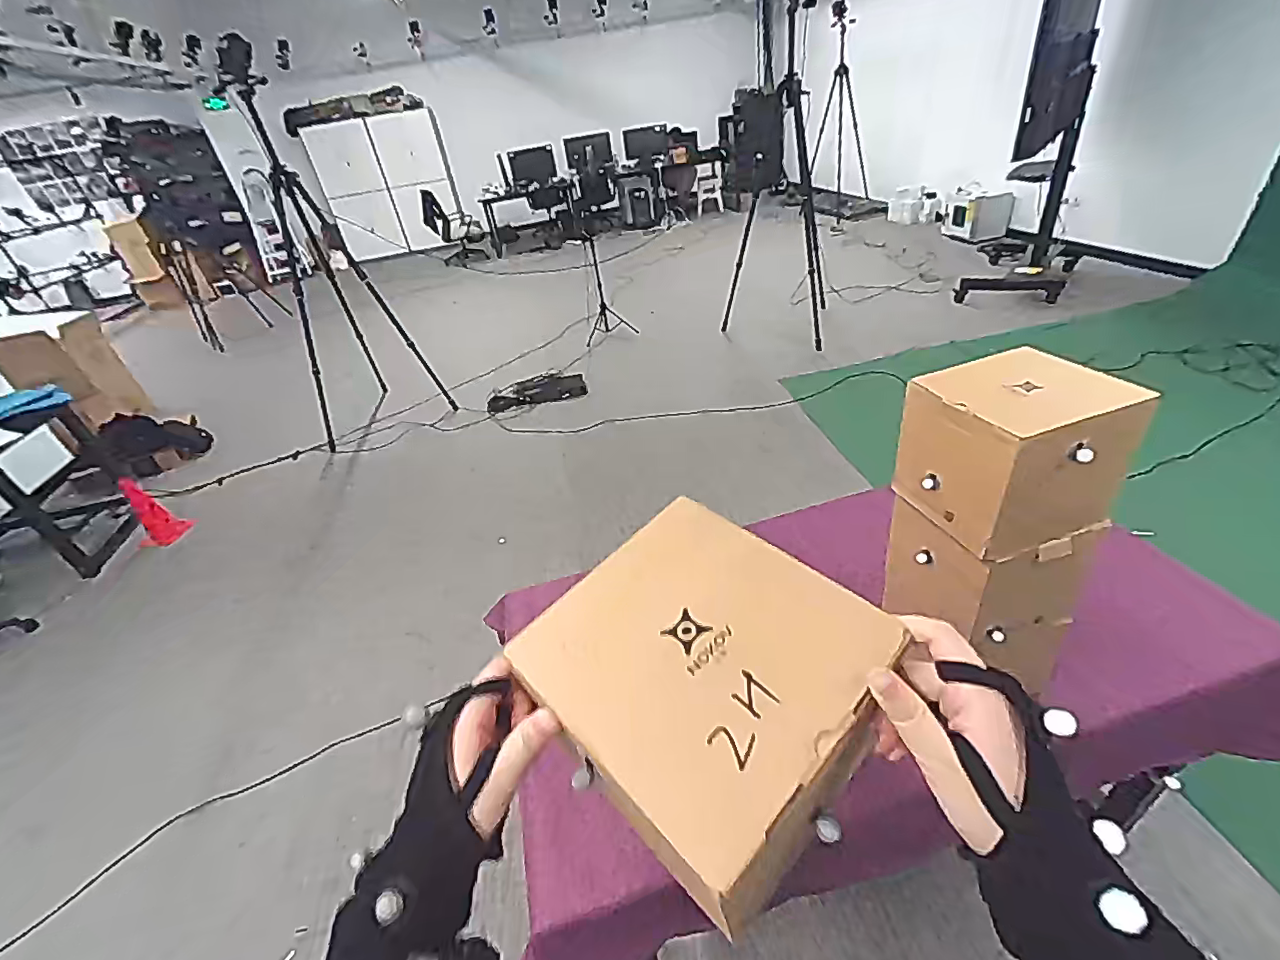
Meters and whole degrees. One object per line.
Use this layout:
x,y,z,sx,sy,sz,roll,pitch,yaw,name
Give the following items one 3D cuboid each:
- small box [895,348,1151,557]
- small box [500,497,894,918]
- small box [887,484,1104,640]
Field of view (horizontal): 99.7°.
0.439,-0.037,0.656,0.179,0.176,0.168,-17,34,-8,small box
0.037,0.150,0.372,0.168,0.176,0.179,-36,49,-23,small box
0.468,0.096,0.746,0.168,0.176,0.179,-16,33,-8,small box
